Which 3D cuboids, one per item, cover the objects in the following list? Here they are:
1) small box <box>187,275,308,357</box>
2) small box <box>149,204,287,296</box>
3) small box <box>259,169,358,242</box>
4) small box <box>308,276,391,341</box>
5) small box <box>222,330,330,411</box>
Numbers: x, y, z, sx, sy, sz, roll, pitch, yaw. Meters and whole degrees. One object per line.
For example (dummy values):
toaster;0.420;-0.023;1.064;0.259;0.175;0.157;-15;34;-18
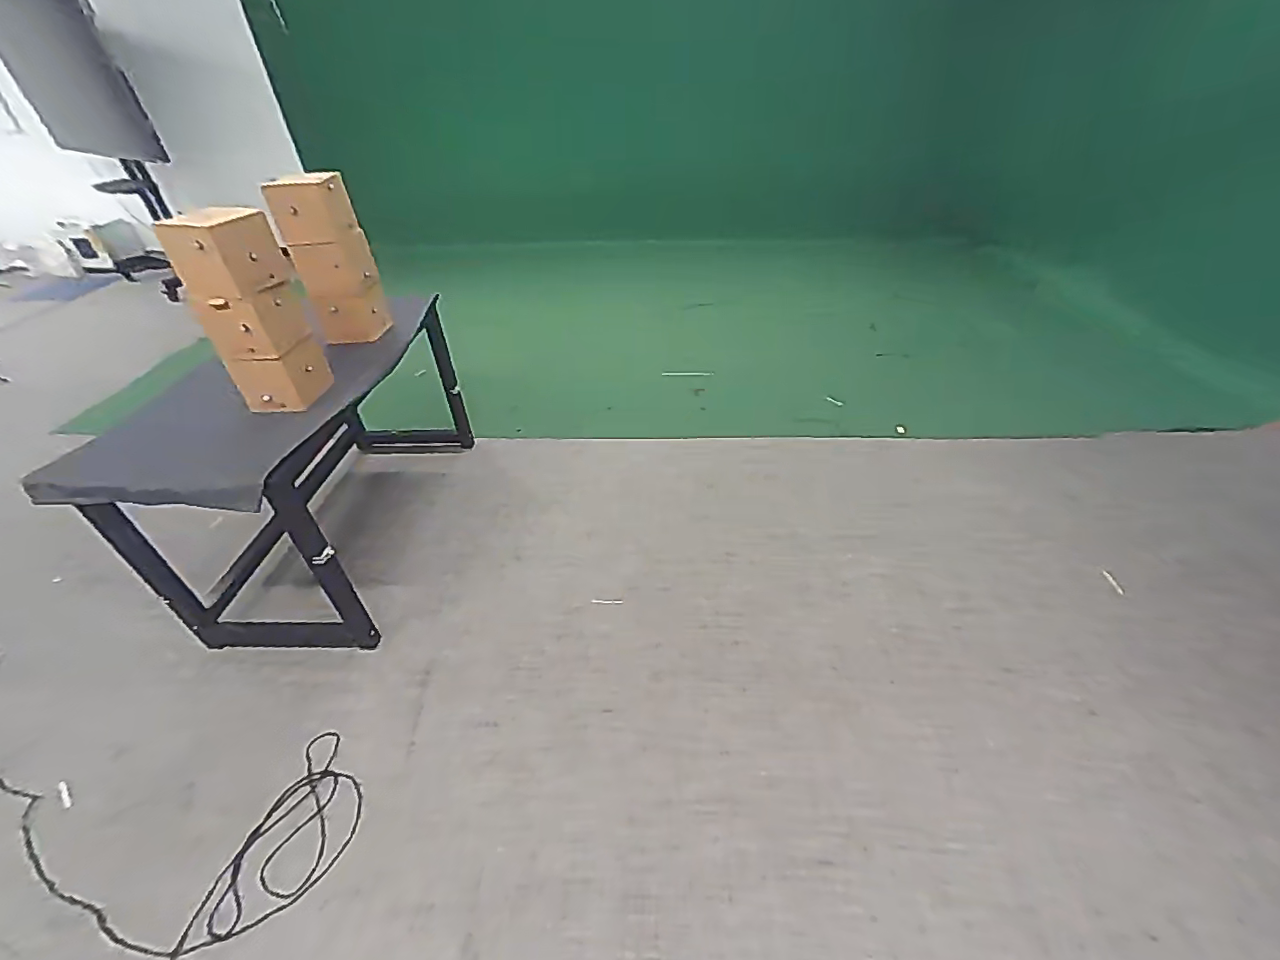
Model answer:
small box;-1.026;-0.437;1.436;0.168;0.176;0.179;2;39;4
small box;-1.025;-0.567;1.333;0.179;0.176;0.168;9;40;14
small box;-1.018;-0.849;1.675;0.179;0.176;0.168;-3;40;1
small box;-1.003;-0.596;1.885;0.179;0.176;0.168;-1;39;4
small box;-1.022;-0.314;1.541;0.168;0.176;0.179;0;40;4
